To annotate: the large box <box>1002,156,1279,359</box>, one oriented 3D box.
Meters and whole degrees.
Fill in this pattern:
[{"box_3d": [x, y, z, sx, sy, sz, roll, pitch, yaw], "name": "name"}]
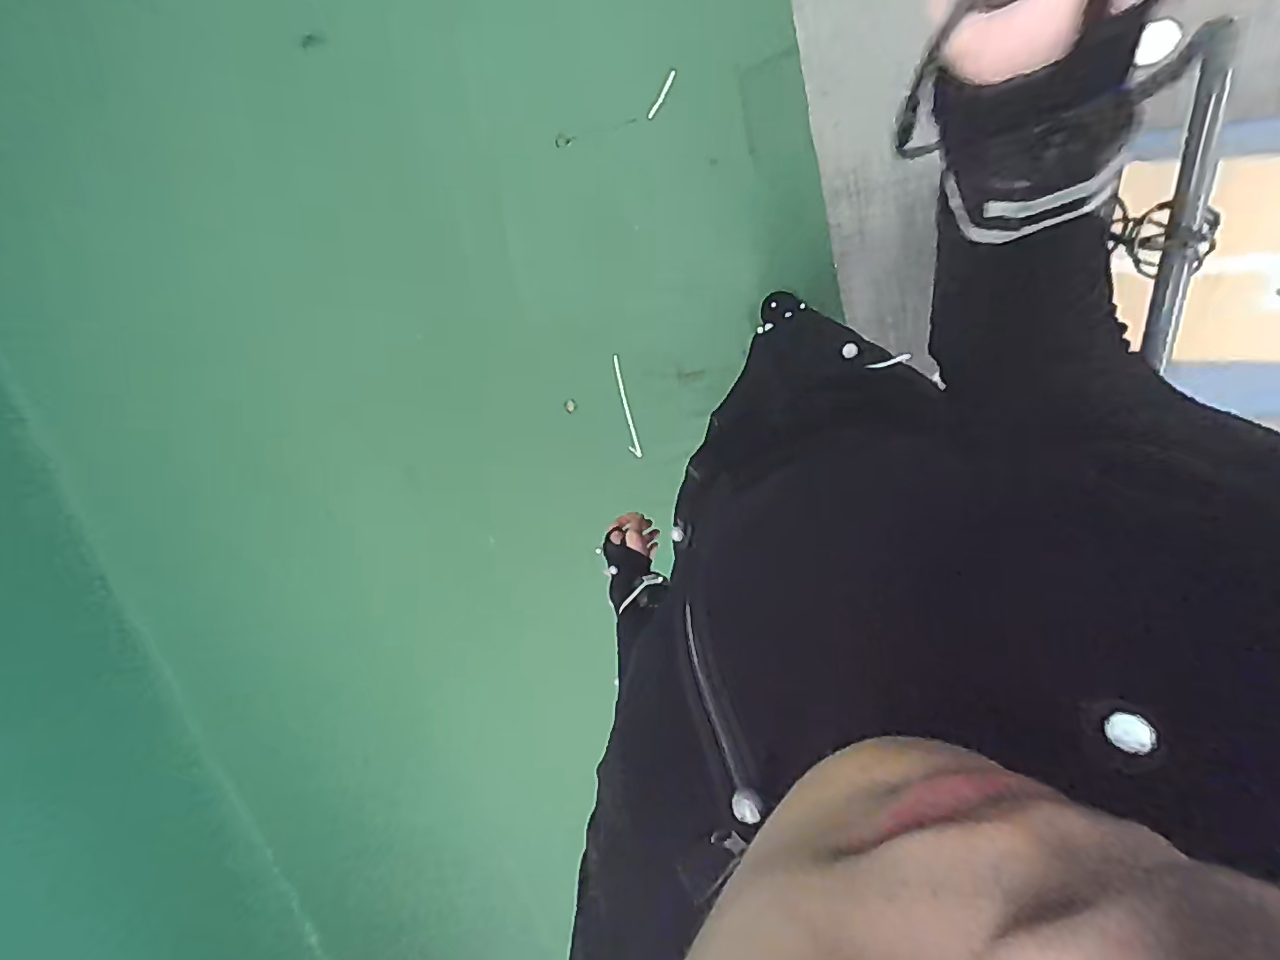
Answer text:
[{"box_3d": [0.992, -0.400, 1.033, 0.408, 0.320, 0.320, 3, 107, 11], "name": "large box"}]
